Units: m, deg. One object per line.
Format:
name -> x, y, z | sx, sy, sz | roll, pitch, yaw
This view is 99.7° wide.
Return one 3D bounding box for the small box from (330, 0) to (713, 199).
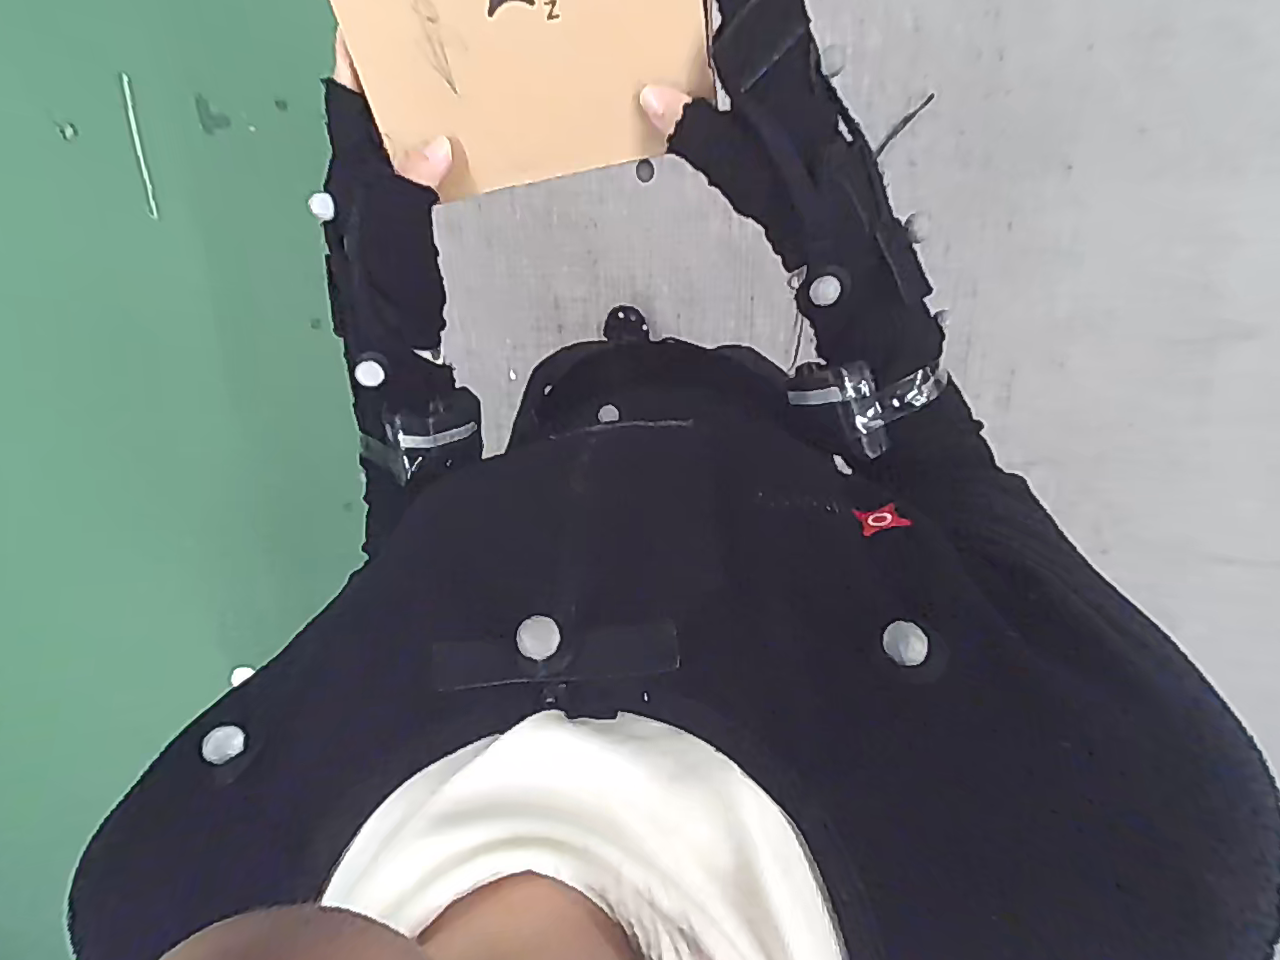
small box -> -0.059, -0.281, 0.316 | 0.179, 0.176, 0.168 | -8, 122, 9
